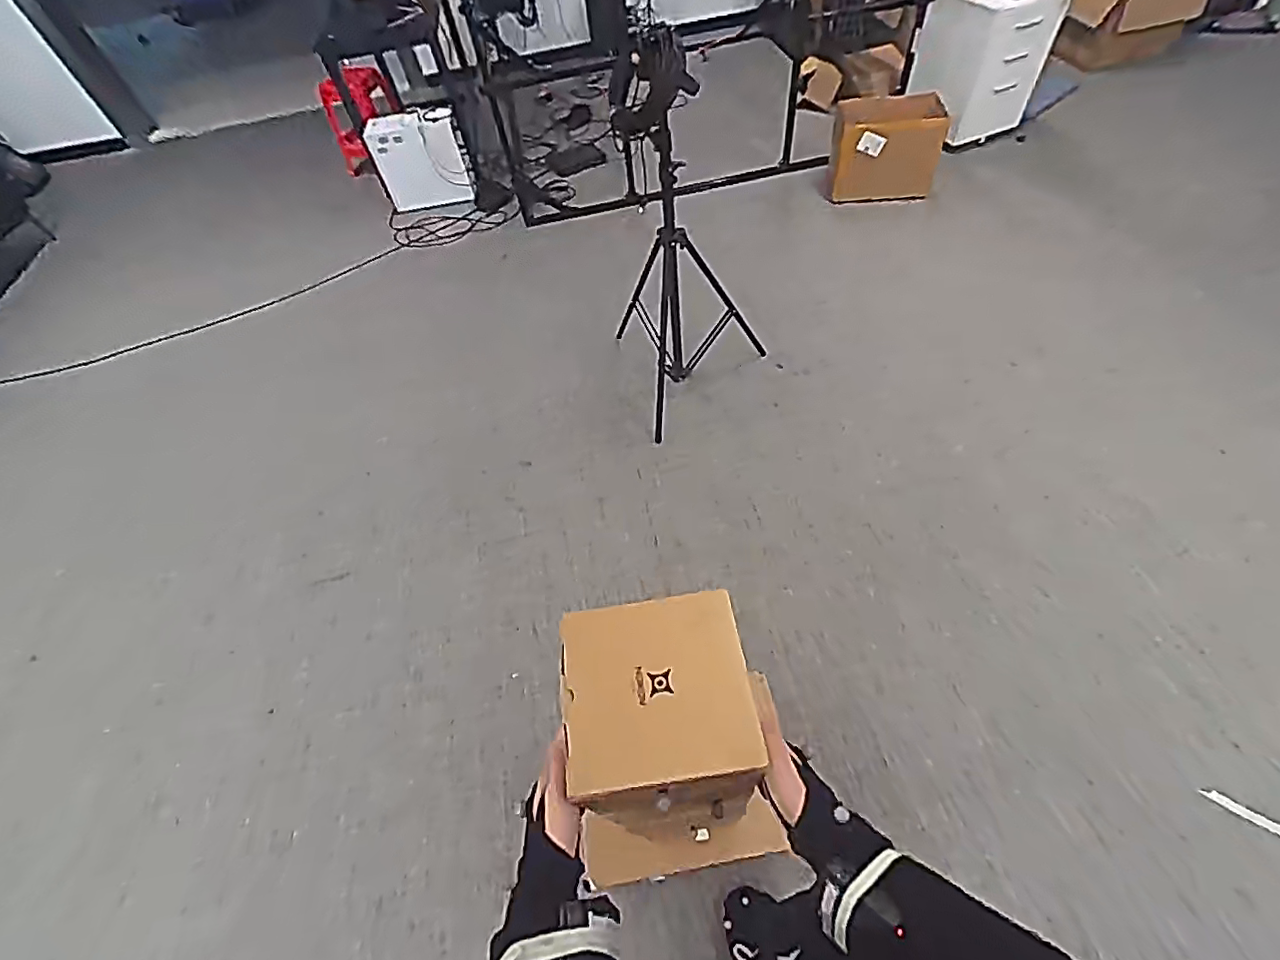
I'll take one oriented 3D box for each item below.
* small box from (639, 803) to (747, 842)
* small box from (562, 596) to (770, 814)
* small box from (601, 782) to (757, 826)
[{"bbox_3d":[0.080,0.531,0.964,0.179,0.176,0.168,-13,55,-3],"label":"small box"},{"bbox_3d":[0.023,0.241,0.570,0.179,0.176,0.168,-10,54,0],"label":"small box"},{"bbox_3d":[0.041,0.338,0.700,0.179,0.176,0.168,-10,54,1],"label":"small box"}]
